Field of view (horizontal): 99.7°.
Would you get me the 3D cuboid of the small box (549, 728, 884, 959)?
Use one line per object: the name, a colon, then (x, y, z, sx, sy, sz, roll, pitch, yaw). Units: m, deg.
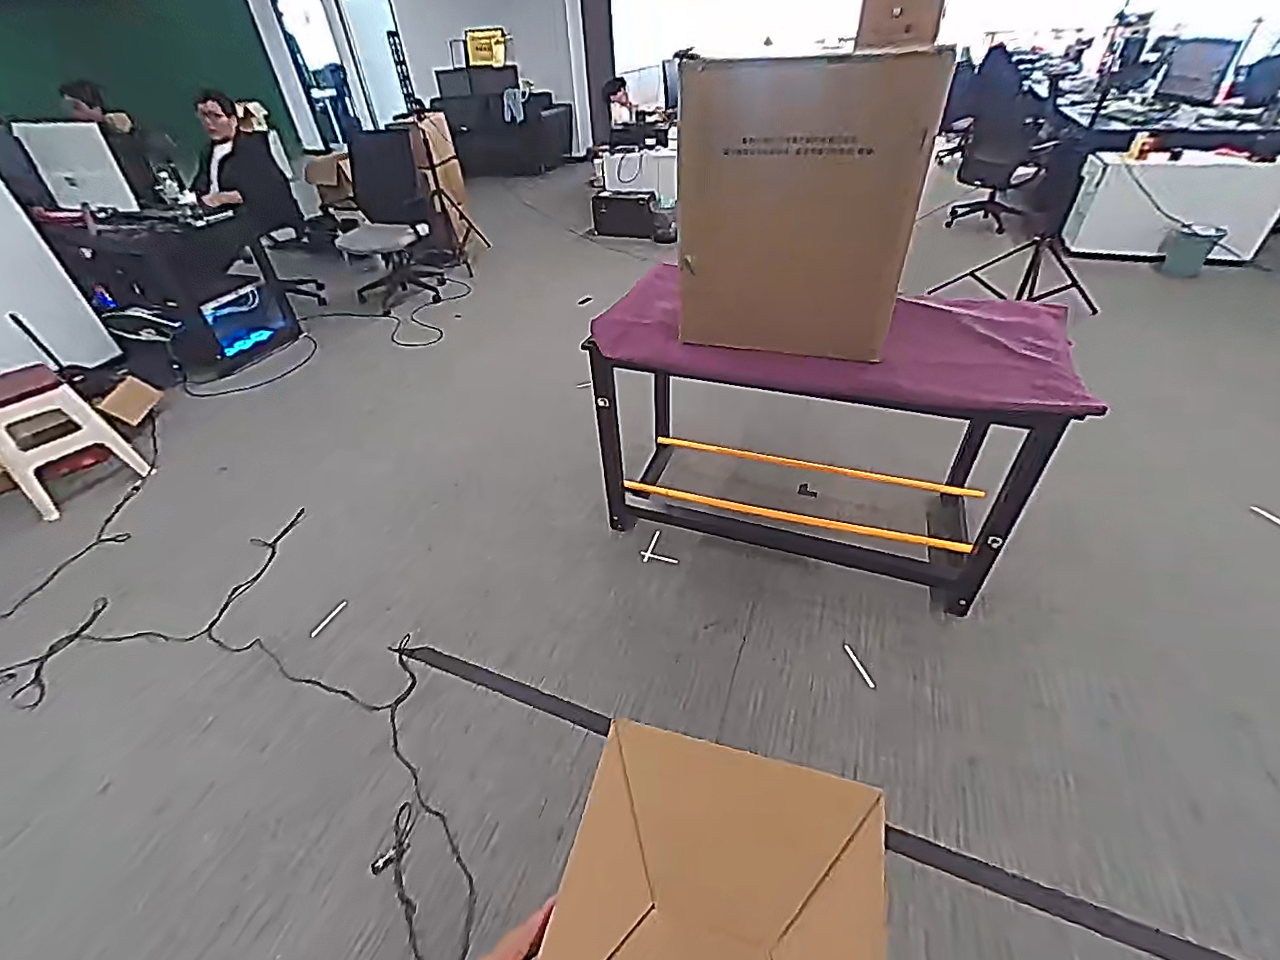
small box: (0.050, 0.287, 0.339, 0.168, 0.176, 0.179, 7, 50, 17)

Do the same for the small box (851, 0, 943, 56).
small box: (0.558, -1.020, 1.158, 0.168, 0.176, 0.179, 11, 42, 19)
